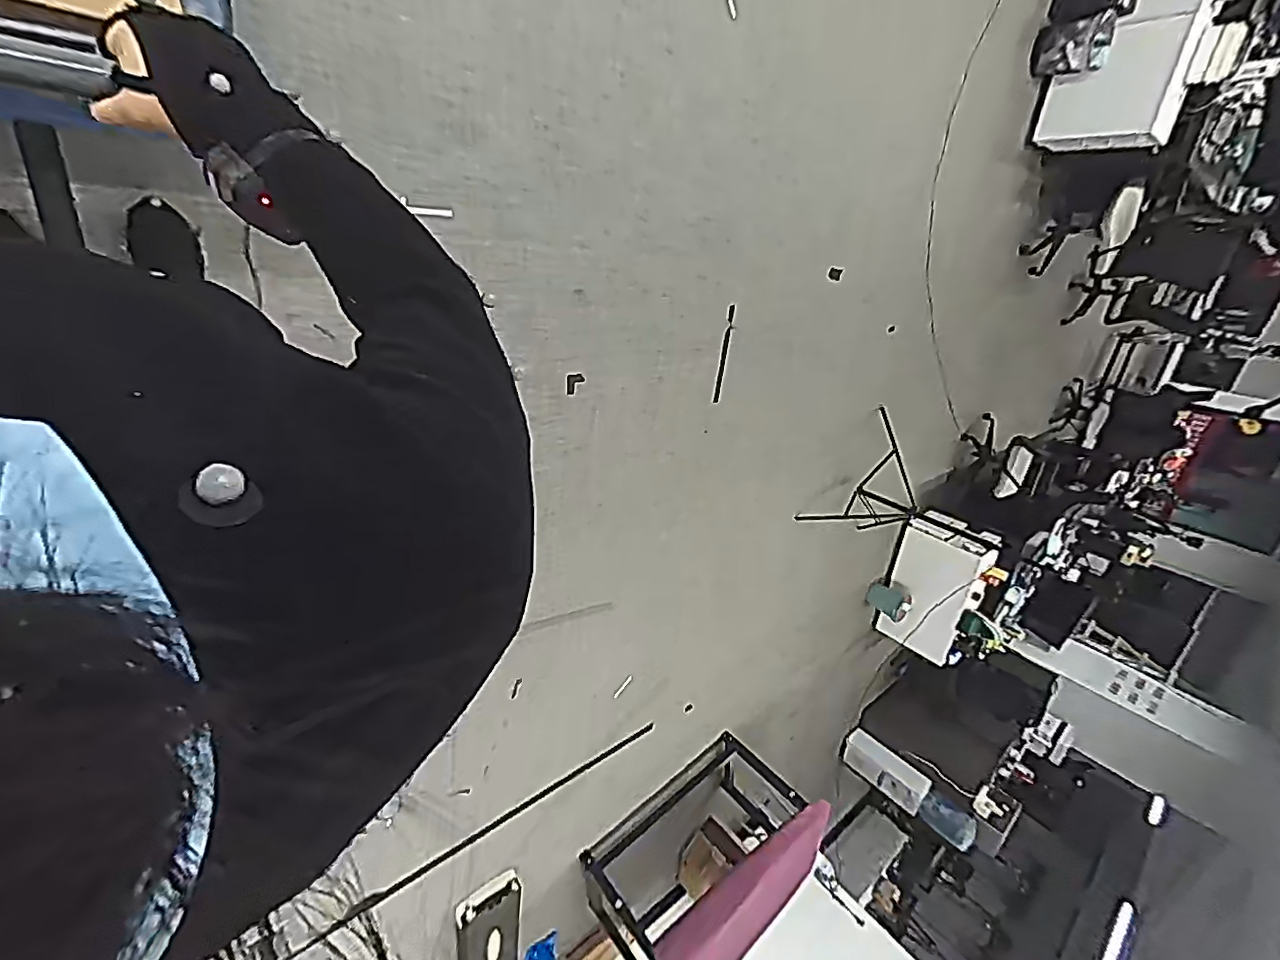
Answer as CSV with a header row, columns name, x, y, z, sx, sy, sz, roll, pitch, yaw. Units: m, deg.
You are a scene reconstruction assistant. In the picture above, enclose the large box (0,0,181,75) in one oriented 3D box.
name,x,y,z,sx,sy,sz,roll,pitch,yaw
large box,-0.797,-0.688,0.580,0.408,0.320,0.320,-15,121,-39
